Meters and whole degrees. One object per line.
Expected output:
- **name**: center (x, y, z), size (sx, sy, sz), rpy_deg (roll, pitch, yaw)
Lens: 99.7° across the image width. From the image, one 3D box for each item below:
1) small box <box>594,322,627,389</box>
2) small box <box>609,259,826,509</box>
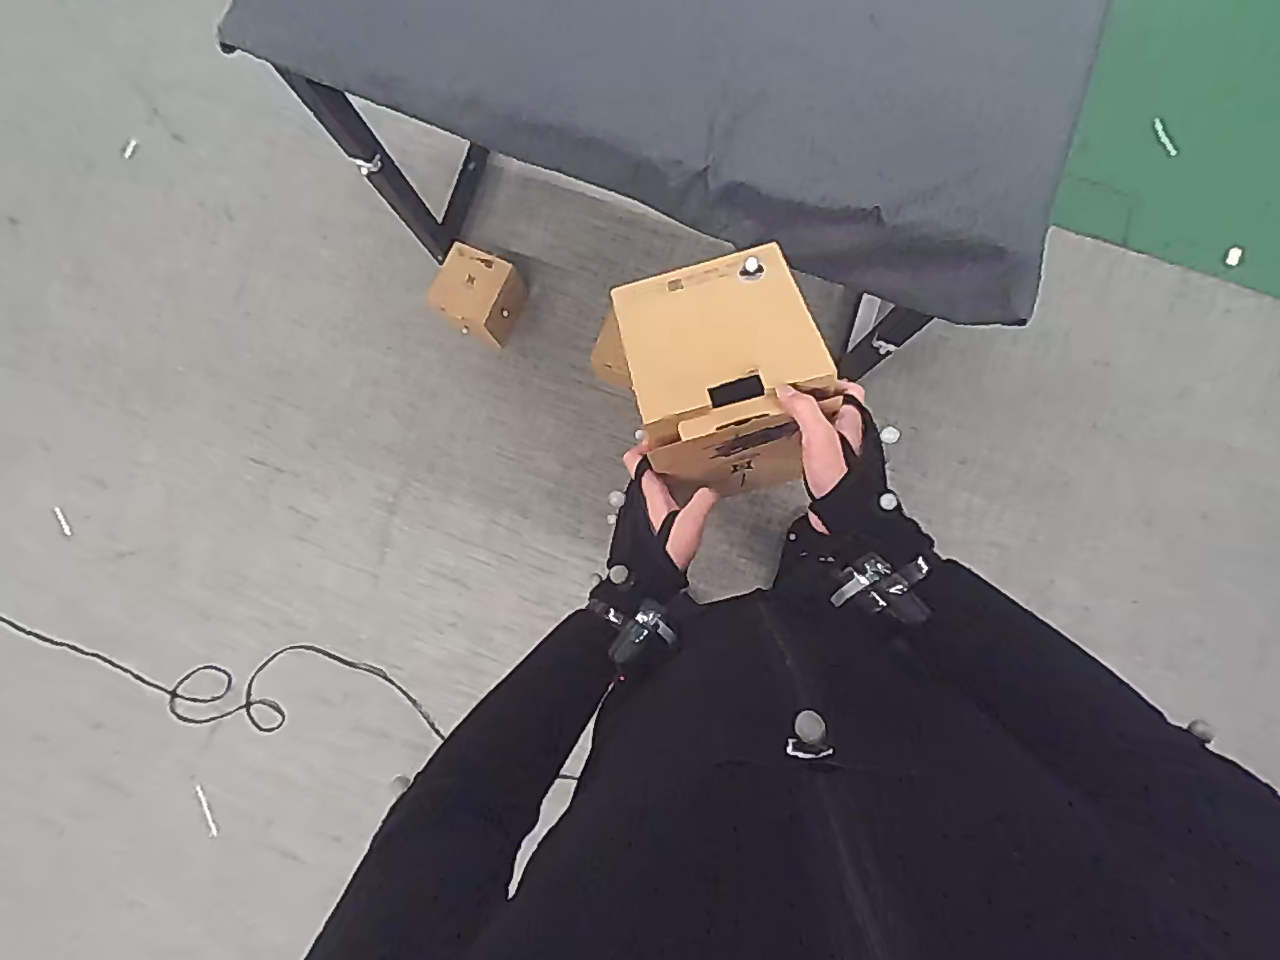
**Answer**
- **small box**: center (-0.002, -0.329, 1.400), size (0.168, 0.176, 0.179), rpy_deg (21, 84, 4)
- **small box**: center (0.074, -0.097, 0.551), size (0.168, 0.179, 0.176), rpy_deg (-14, 60, 6)
